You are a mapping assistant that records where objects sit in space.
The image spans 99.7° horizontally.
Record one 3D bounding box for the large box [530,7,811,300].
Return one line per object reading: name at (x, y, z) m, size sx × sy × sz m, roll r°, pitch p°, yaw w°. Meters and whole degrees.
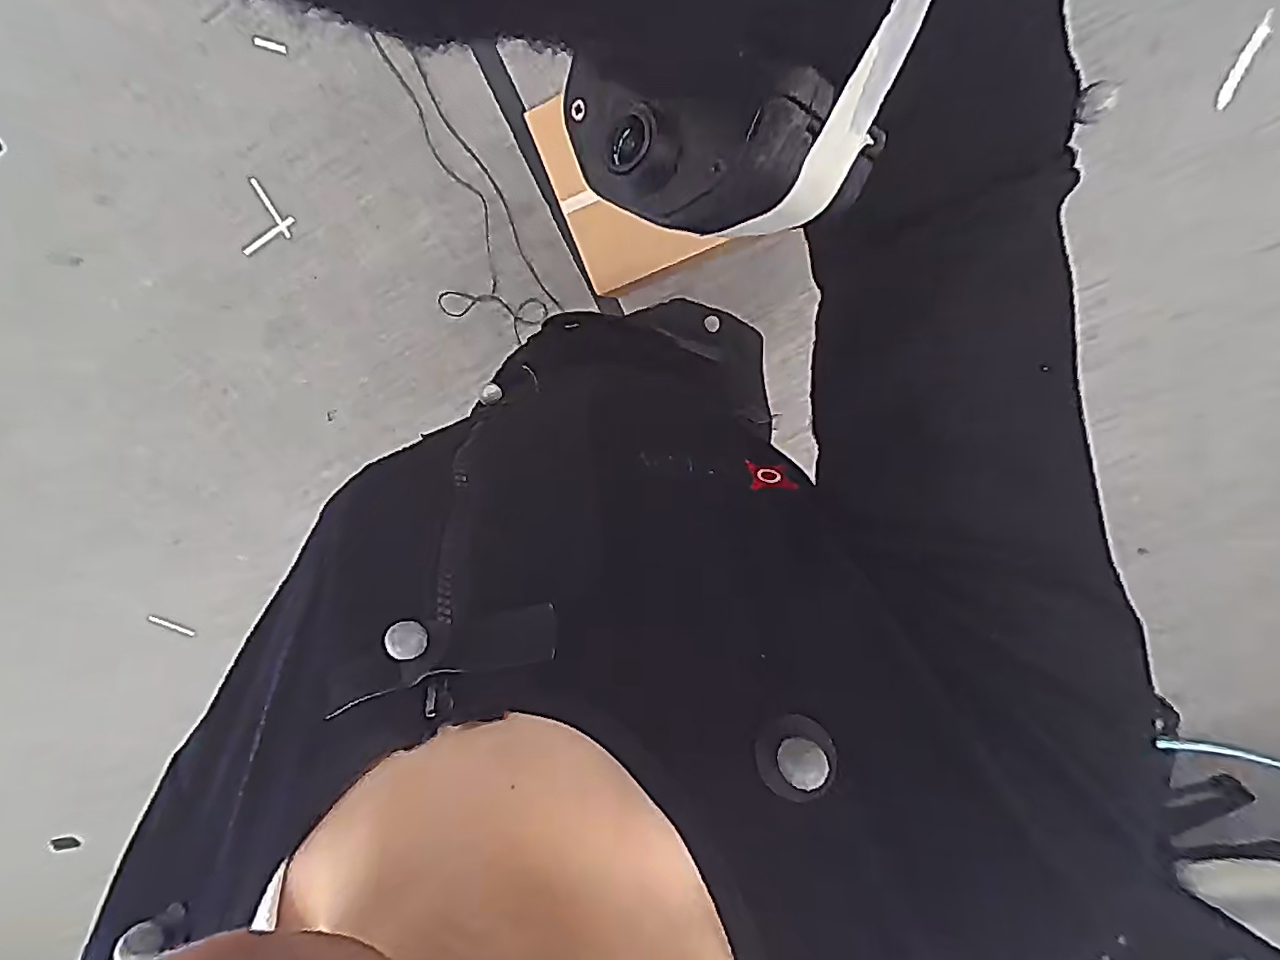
large box at (0.063, -0.578, 1.050) m, size 0.408 × 0.320 × 0.320 m, roll -20°, pitch 105°, yaw 10°
